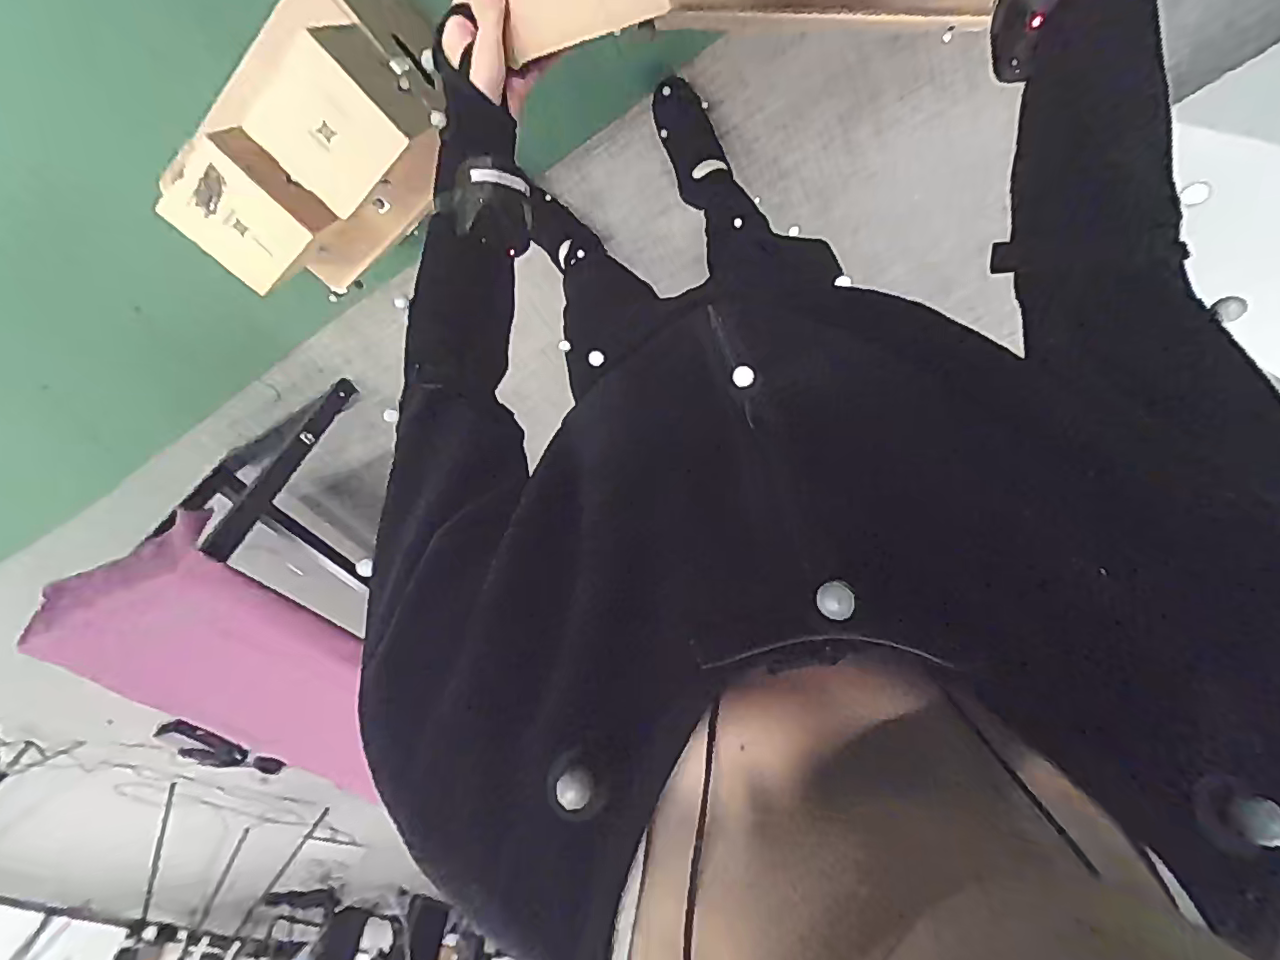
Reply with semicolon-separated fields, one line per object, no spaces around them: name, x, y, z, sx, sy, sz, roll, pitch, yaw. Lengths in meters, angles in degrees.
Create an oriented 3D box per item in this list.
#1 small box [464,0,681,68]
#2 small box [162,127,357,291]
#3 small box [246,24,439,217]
small box;-0.042;-0.449;0.400;0.179;0.176;0.168;11;143;32
small box;-0.624;-0.460;0.907;0.168;0.176;0.179;-29;123;24
small box;-0.439;-0.547;0.827;0.179;0.176;0.168;-31;124;24
